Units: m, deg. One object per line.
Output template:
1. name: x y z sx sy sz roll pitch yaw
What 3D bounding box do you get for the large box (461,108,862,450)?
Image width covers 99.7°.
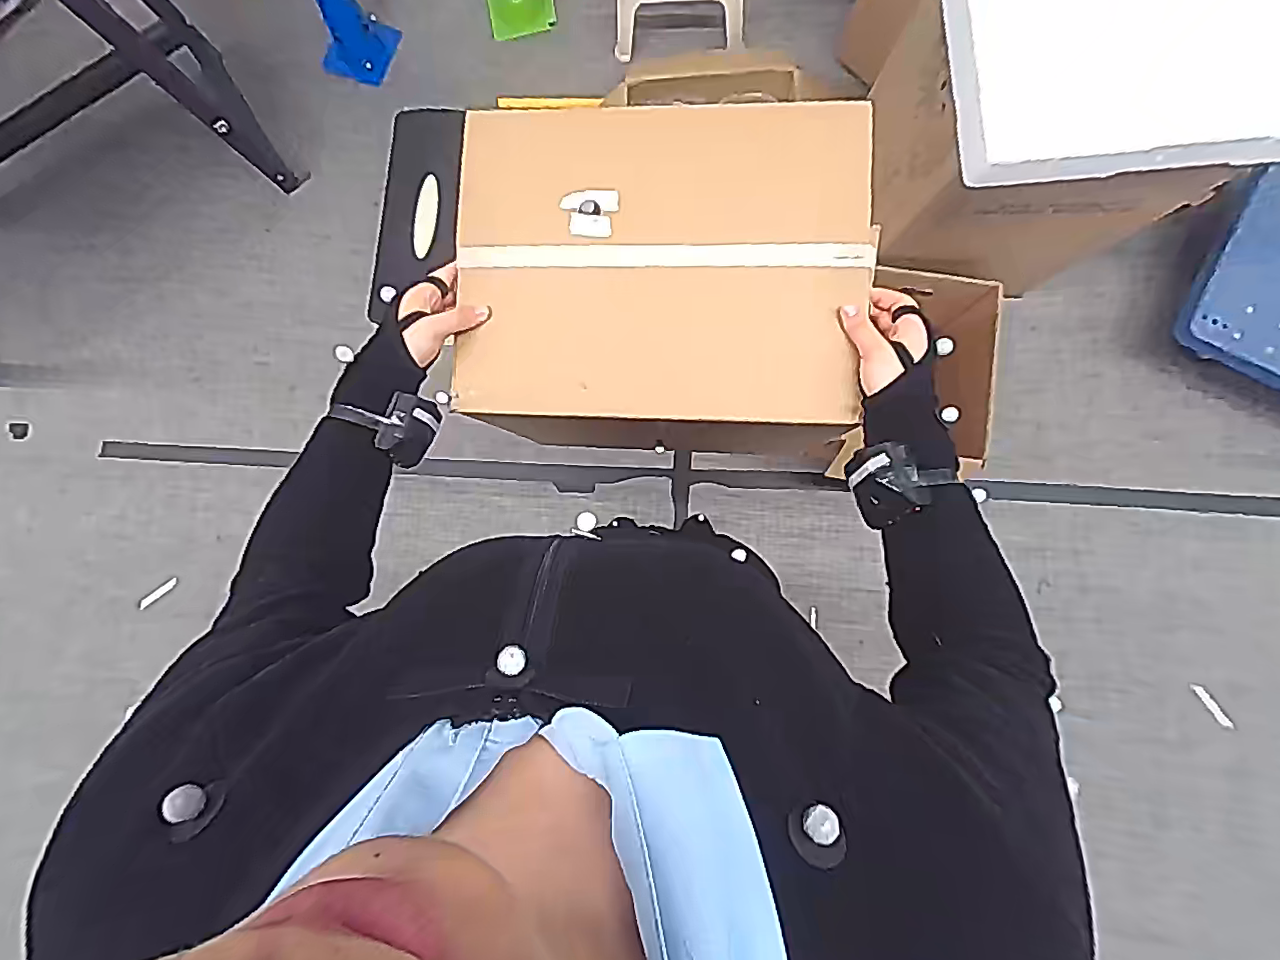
1. large box: 0.036 -0.206 0.689 0.408 0.320 0.320 2 86 7
